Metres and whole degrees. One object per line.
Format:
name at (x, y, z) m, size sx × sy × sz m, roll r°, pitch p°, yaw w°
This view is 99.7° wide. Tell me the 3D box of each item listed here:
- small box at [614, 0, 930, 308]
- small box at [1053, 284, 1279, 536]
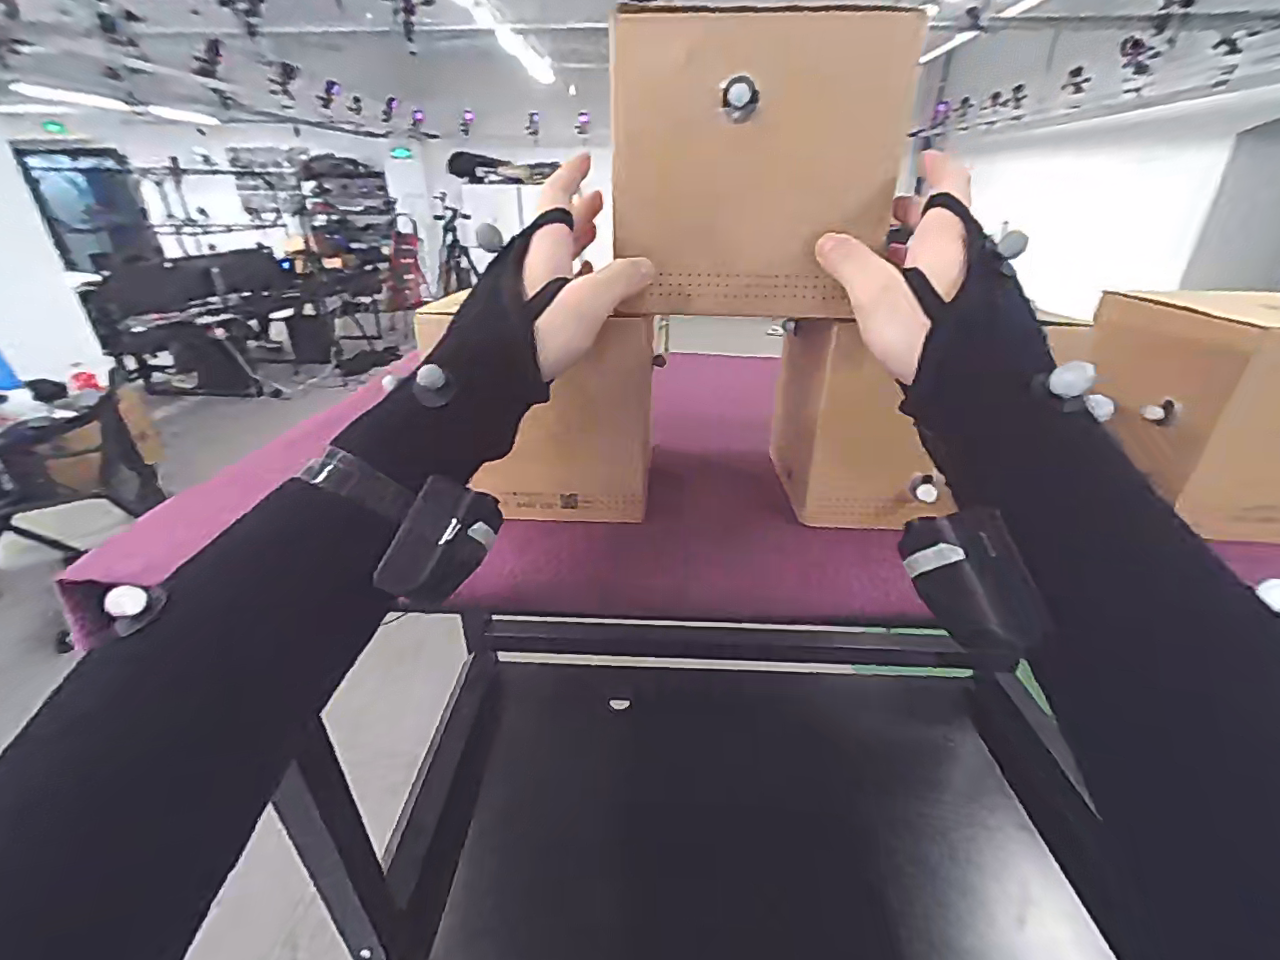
small box at (0.077, -0.225, 0.398) m, size 0.179 × 0.176 × 0.168 m, roll 3°, pitch 27°, yaw 4°
small box at (0.501, -0.063, 0.453) m, size 0.168 × 0.176 × 0.179 m, roll 4°, pitch 28°, yaw 6°
